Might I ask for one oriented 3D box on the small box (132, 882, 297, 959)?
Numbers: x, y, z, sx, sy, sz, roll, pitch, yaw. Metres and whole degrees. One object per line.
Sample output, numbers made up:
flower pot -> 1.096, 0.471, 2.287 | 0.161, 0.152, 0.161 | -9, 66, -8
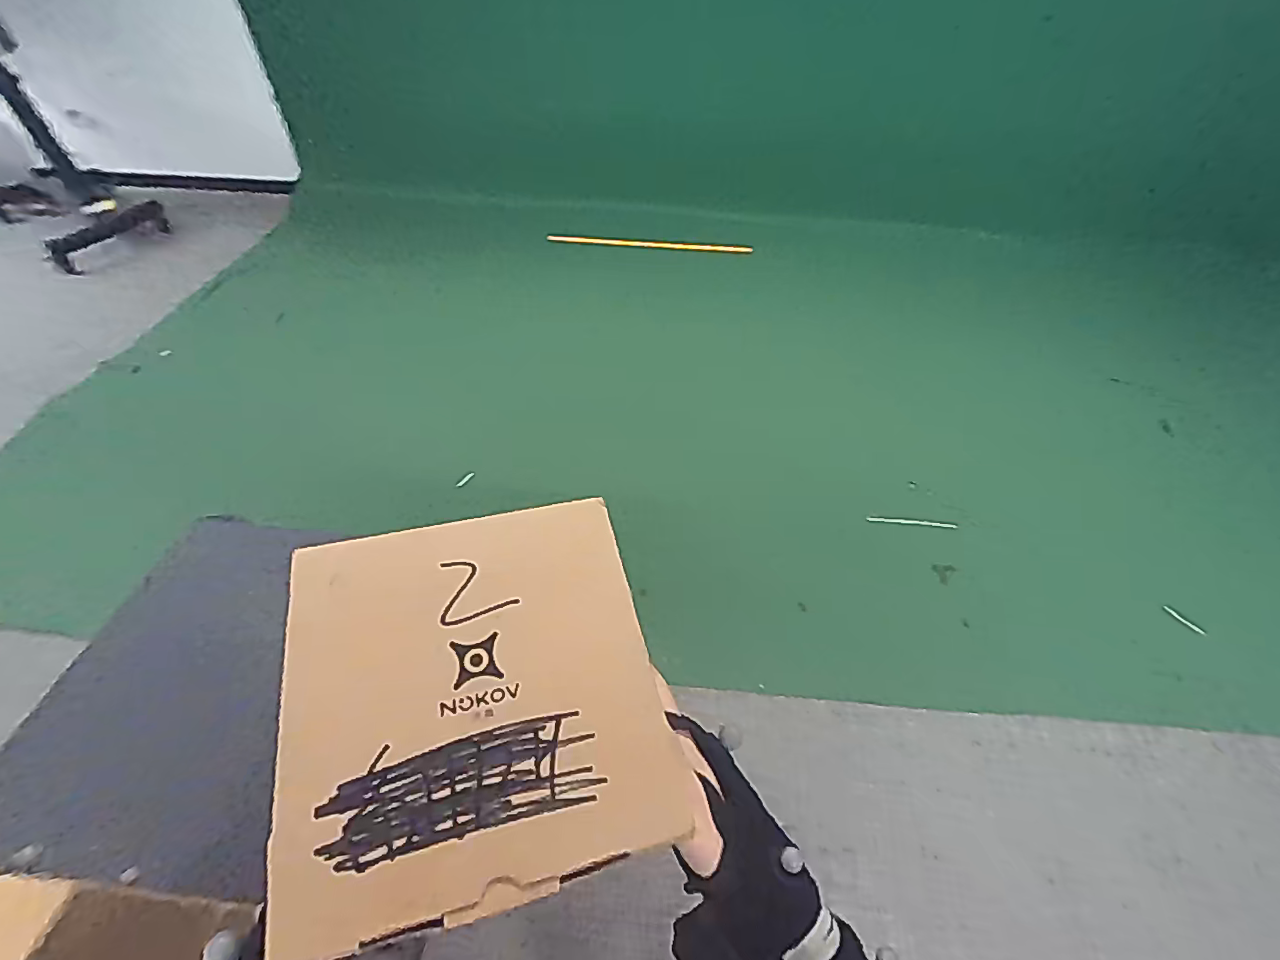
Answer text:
small box -> -0.463, 0.471, 0.485 | 0.179, 0.176, 0.168 | 5, 50, 3

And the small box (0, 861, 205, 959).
small box -> -0.465, 0.364, 0.364 | 0.179, 0.176, 0.168 | 5, 48, 3
